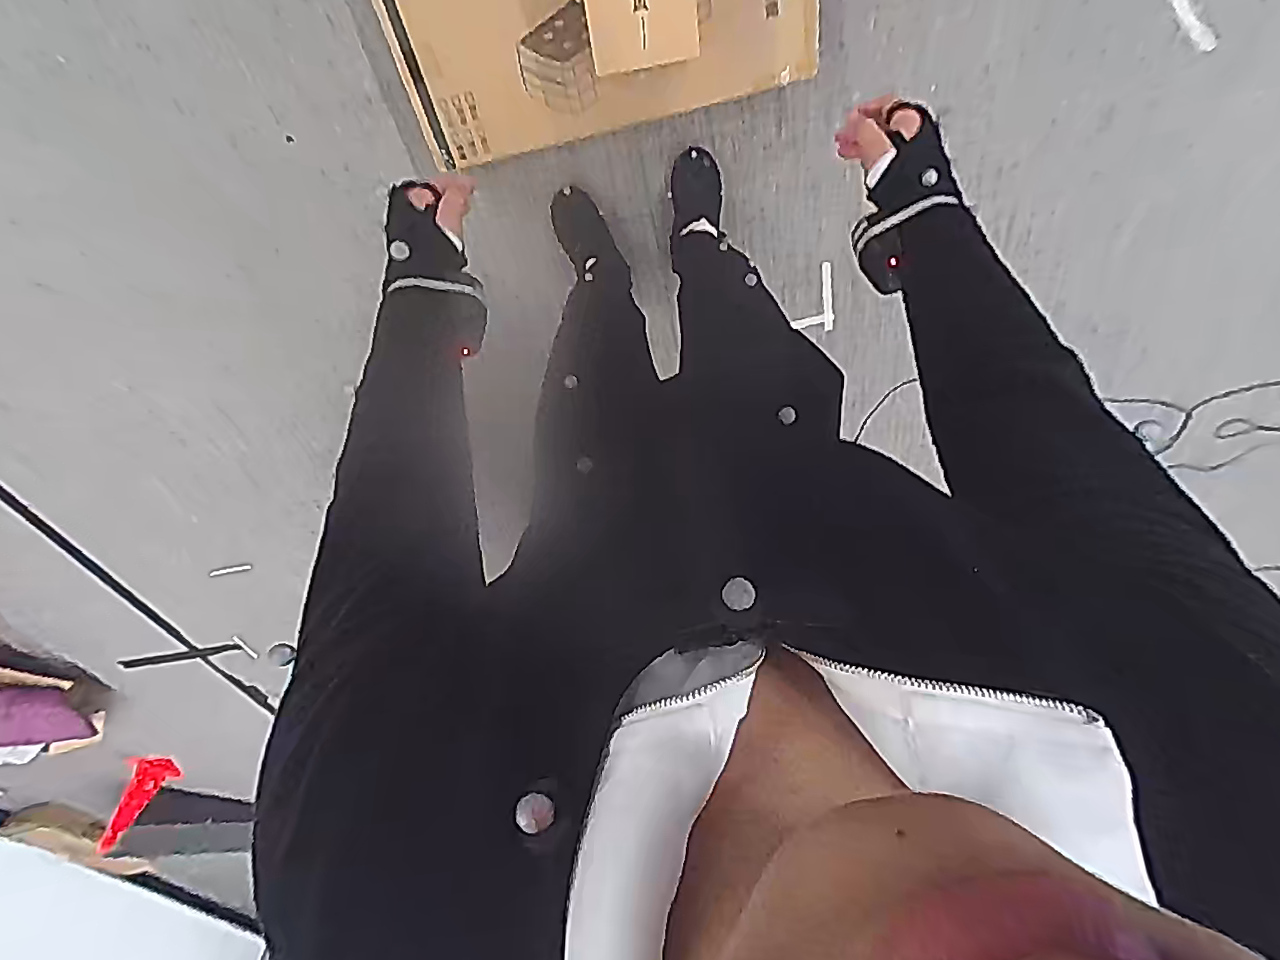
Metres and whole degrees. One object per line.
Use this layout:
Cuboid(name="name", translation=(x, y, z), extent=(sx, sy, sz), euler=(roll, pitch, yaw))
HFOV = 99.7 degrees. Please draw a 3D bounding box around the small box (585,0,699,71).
Cuboid(name="small box", translation=(-0.005, -0.762, 0.847), extent=(0.168, 0.176, 0.179), euler=(-8, 128, 4))
